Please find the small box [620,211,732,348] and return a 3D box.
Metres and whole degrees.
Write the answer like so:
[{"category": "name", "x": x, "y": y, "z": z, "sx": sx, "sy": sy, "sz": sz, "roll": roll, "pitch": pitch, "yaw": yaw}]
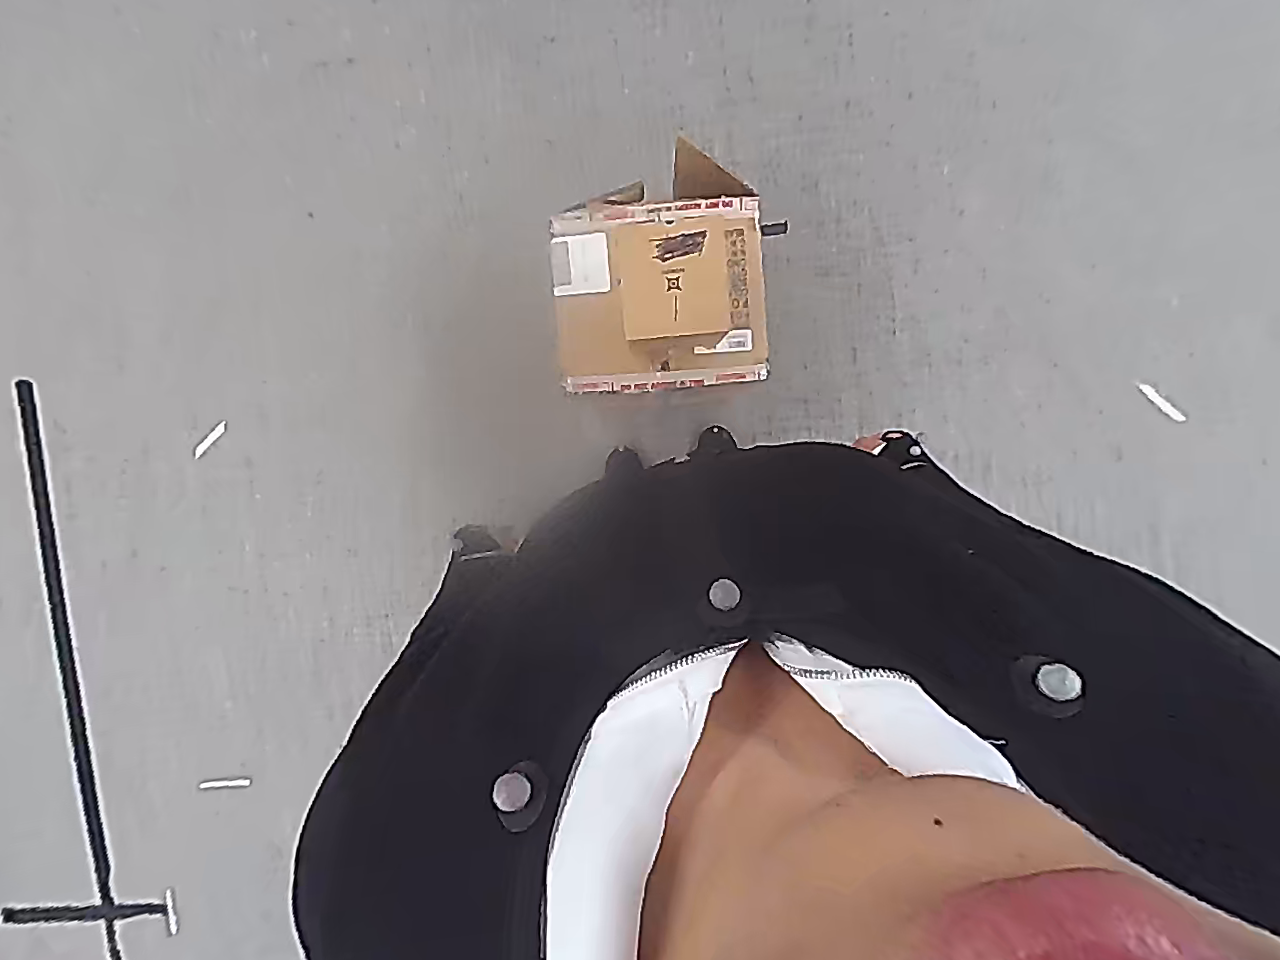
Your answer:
[{"category": "small box", "x": 0.057, "y": -0.325, "z": 0.907, "sx": 0.168, "sy": 0.176, "sz": 0.179, "roll": -4, "pitch": 97, "yaw": 2}]
